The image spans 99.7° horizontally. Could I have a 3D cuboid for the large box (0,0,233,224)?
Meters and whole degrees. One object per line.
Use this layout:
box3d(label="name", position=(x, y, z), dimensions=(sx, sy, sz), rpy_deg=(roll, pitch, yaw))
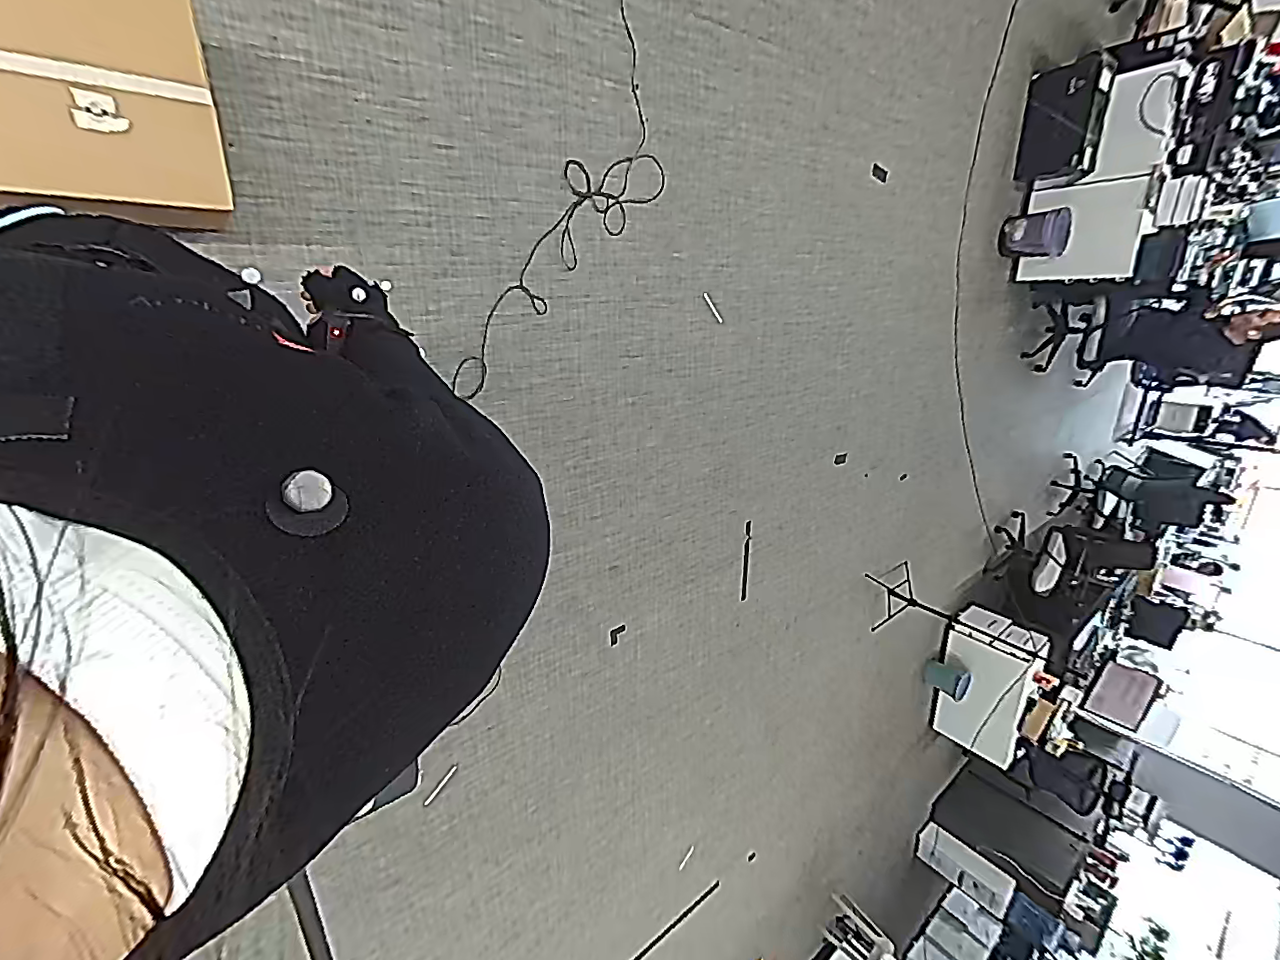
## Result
box3d(label="large box", position=(-0.909, -0.587, 0.821), dimensions=(0.408, 0.320, 0.320), rpy_deg=(-14, 113, -37))
